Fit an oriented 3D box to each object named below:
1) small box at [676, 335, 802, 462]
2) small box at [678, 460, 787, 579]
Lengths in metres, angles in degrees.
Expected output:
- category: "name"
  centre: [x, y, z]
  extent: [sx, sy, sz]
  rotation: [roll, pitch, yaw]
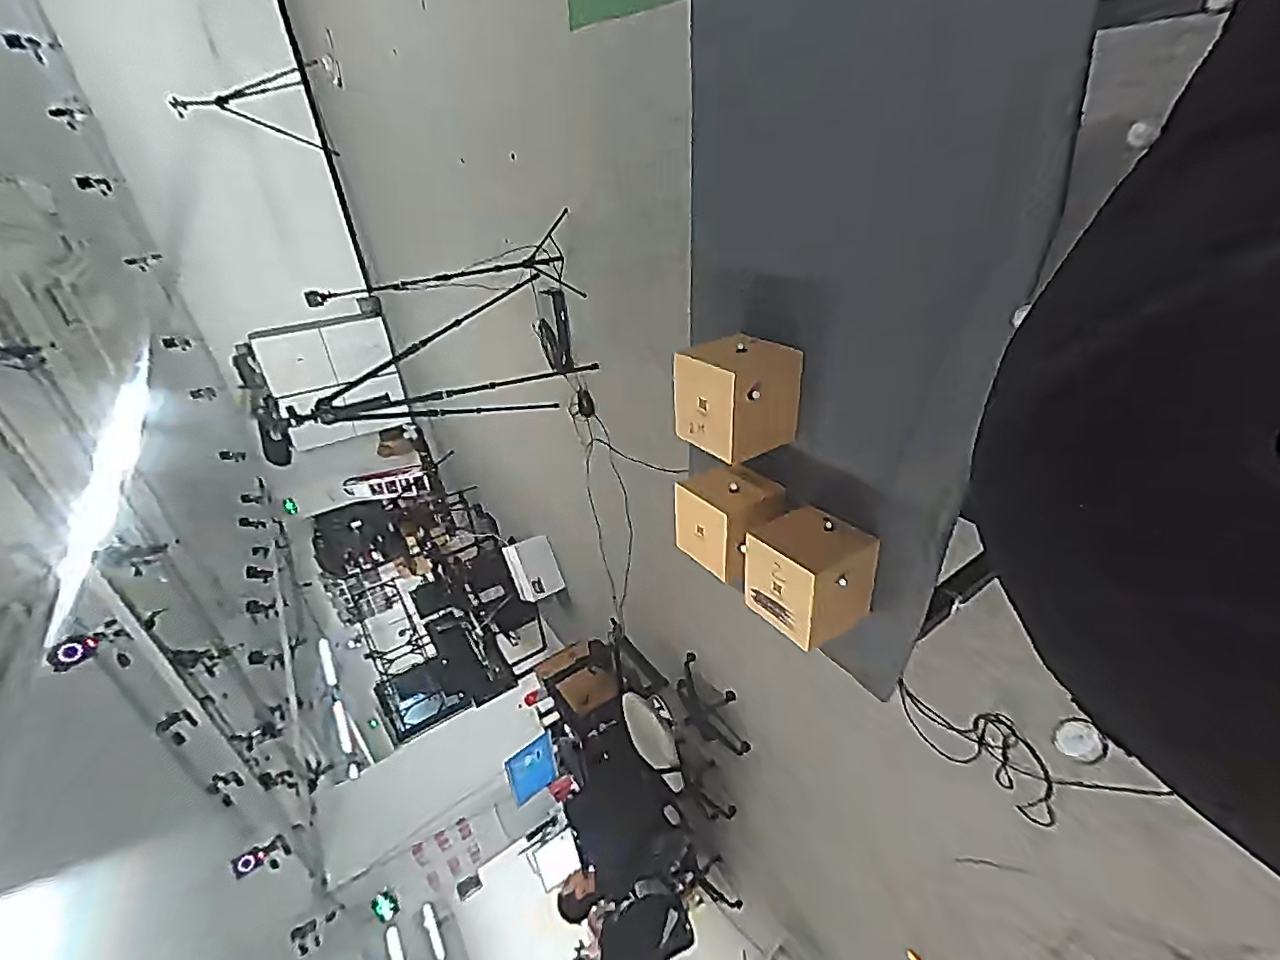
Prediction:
- category: "small box"
  centre: [0.185, -0.163, 1.020]
  extent: [0.168, 0.176, 0.179]
  rotation: [35, 138, 47]
- category: "small box"
  centre: [0.201, 0.076, 1.176]
  extent: [0.168, 0.176, 0.179]
  rotation: [34, 138, 47]
